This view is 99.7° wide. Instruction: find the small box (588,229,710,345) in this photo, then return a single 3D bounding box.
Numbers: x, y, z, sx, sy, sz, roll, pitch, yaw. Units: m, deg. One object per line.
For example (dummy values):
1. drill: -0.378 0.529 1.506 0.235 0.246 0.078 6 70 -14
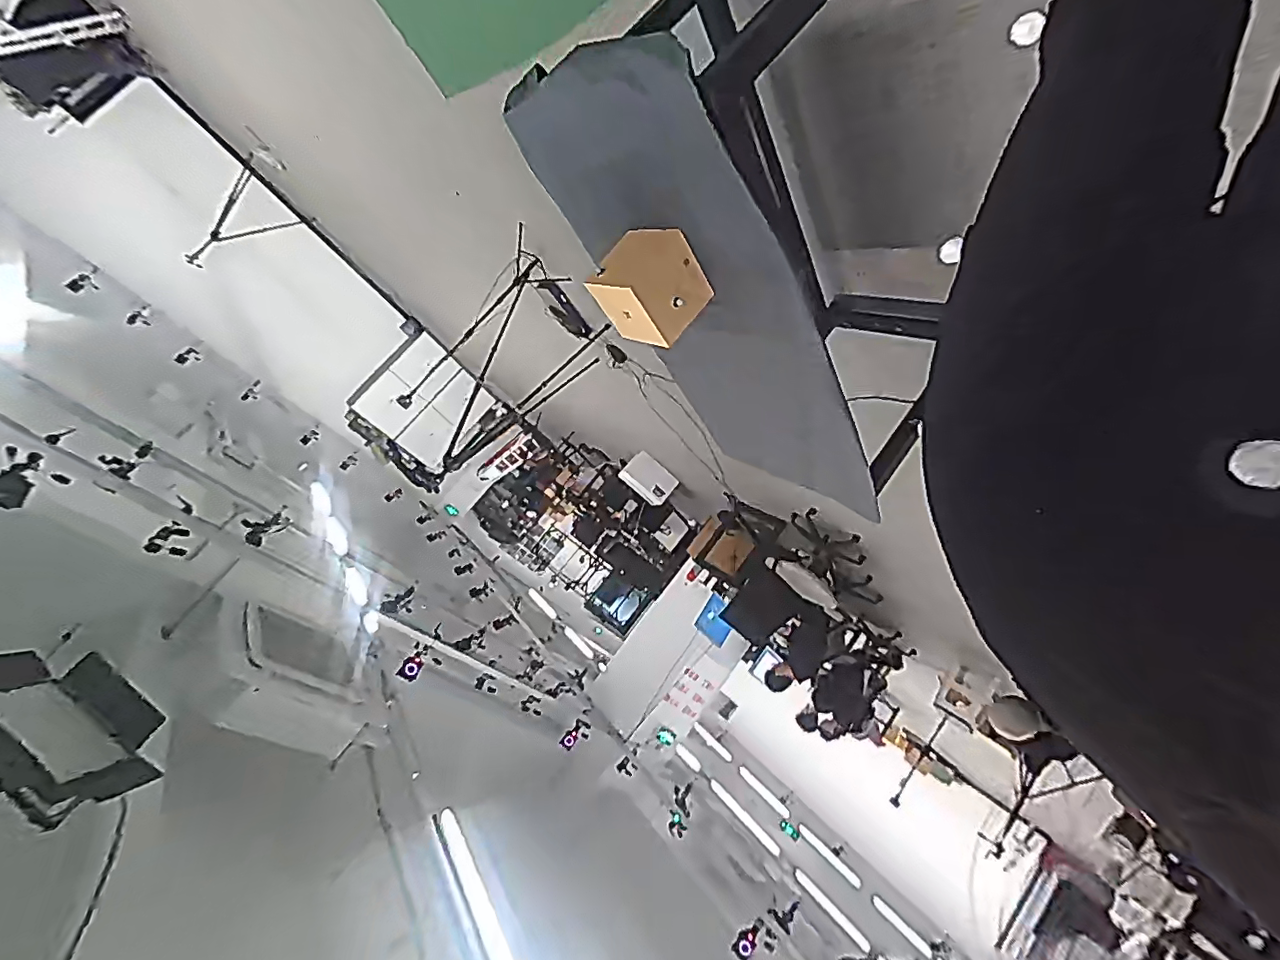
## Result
1. small box: 0.028 -0.419 1.165 0.179 0.176 0.168 29 167 47
